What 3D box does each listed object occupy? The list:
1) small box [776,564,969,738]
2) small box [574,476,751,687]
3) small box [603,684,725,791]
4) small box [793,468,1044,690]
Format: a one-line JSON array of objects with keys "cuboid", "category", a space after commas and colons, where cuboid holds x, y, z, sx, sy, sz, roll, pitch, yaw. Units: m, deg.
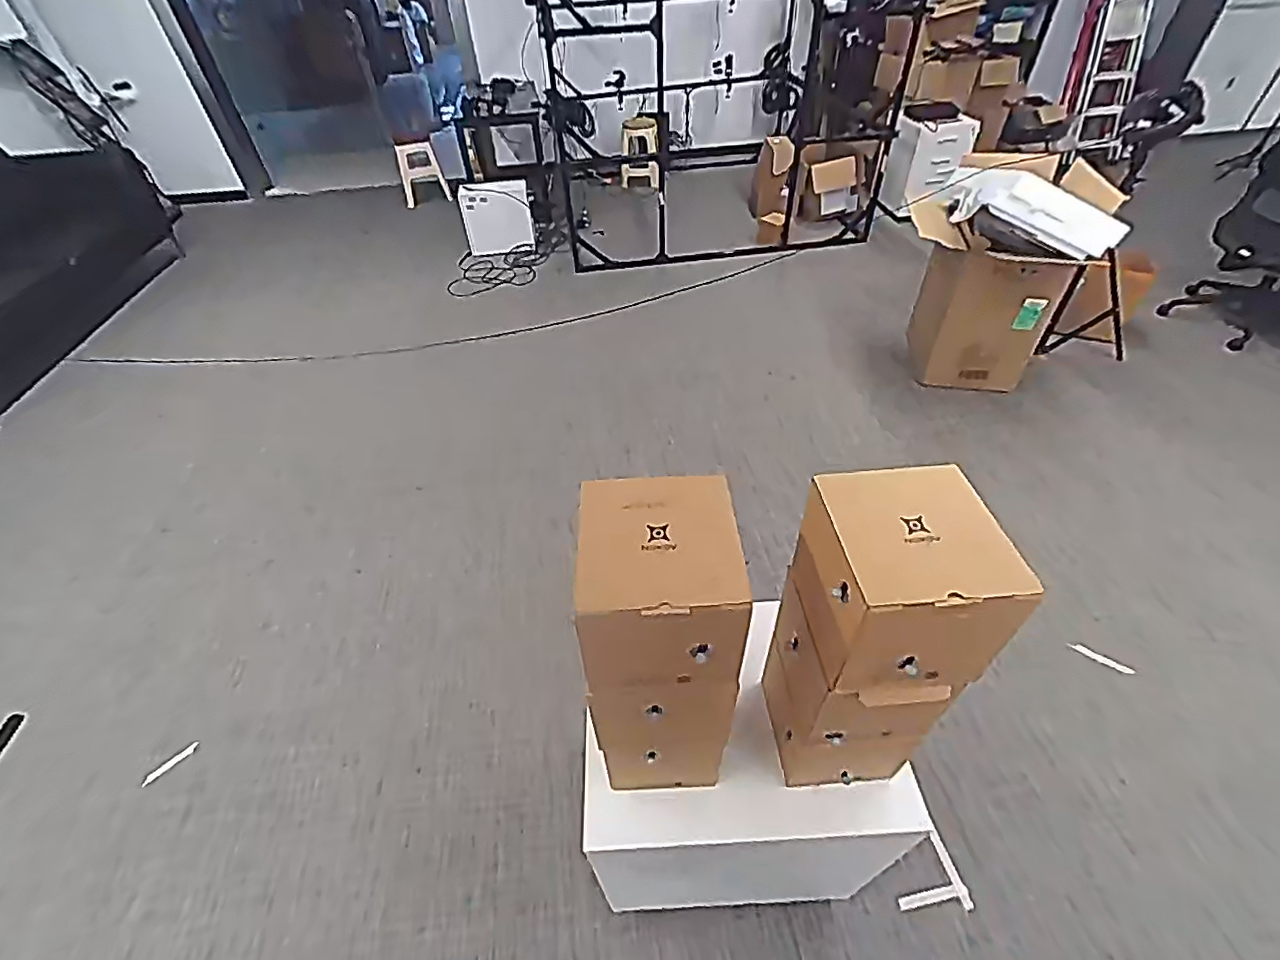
[{"cuboid": [0.287, 0.224, 0.714, 0.168, 0.176, 0.179, -5, 44, -1], "category": "small box"}, {"cuboid": [0.021, 0.118, 0.604, 0.168, 0.176, 0.179, -3, 44, -1], "category": "small box"}, {"cuboid": [0.033, 0.354, 0.831, 0.168, 0.176, 0.179, -3, 43, 1], "category": "small box"}, {"cuboid": [0.281, 0.109, 0.599, 0.168, 0.176, 0.179, -5, 45, -1], "category": "small box"}]
